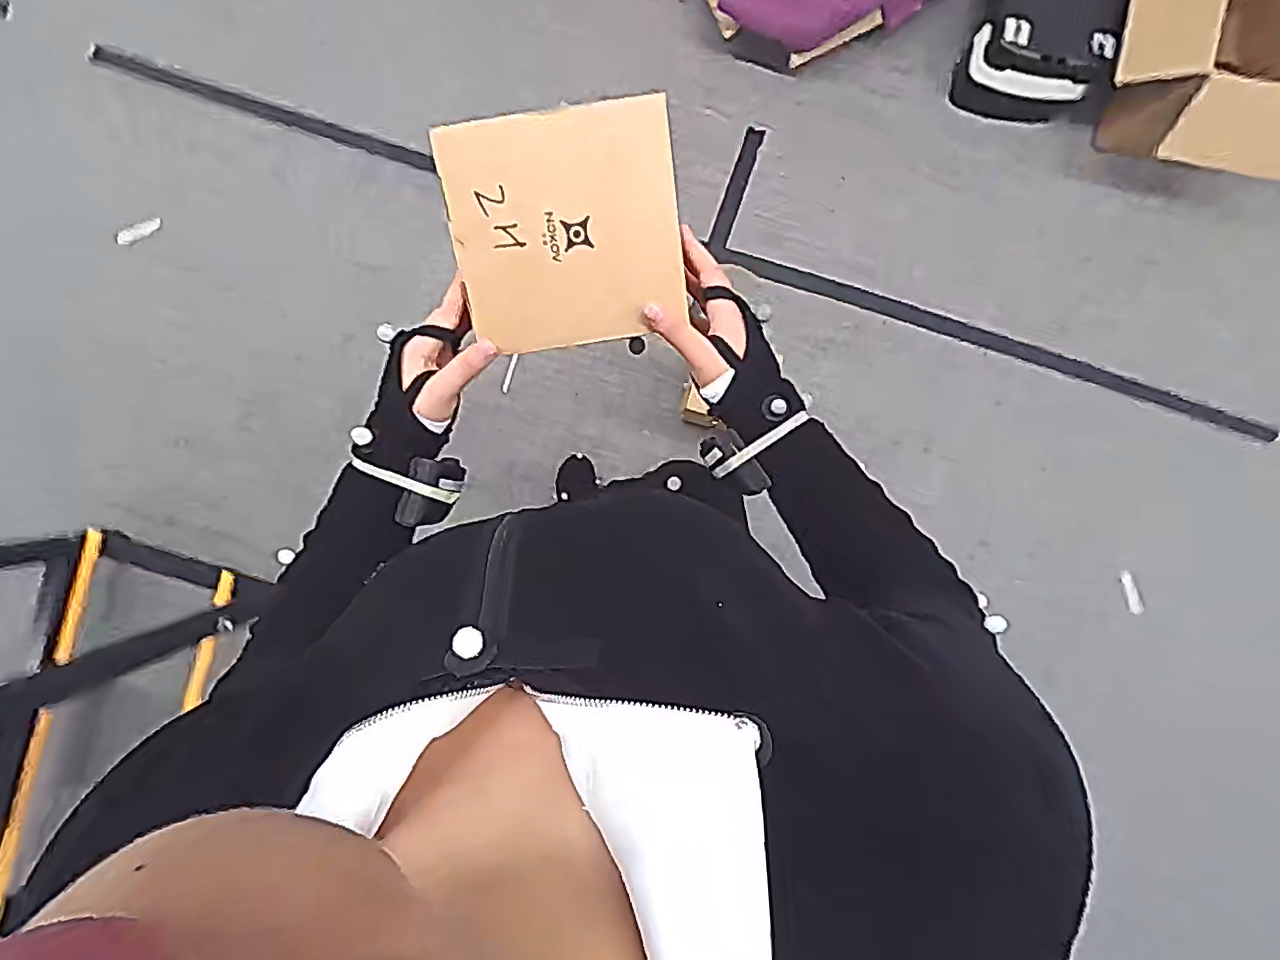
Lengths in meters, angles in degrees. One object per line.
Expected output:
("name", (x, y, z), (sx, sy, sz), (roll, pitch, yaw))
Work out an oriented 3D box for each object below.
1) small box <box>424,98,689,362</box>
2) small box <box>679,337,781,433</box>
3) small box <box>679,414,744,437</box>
("small box", (-0.060, -0.208, 0.481), (0.179, 0.176, 0.168), (-8, 108, 1))
("small box", (0.194, -0.205, 1.225), (0.179, 0.176, 0.168), (16, 93, -1))
("small box", (0.202, -0.215, 1.391), (0.168, 0.176, 0.179), (16, 94, -1))
